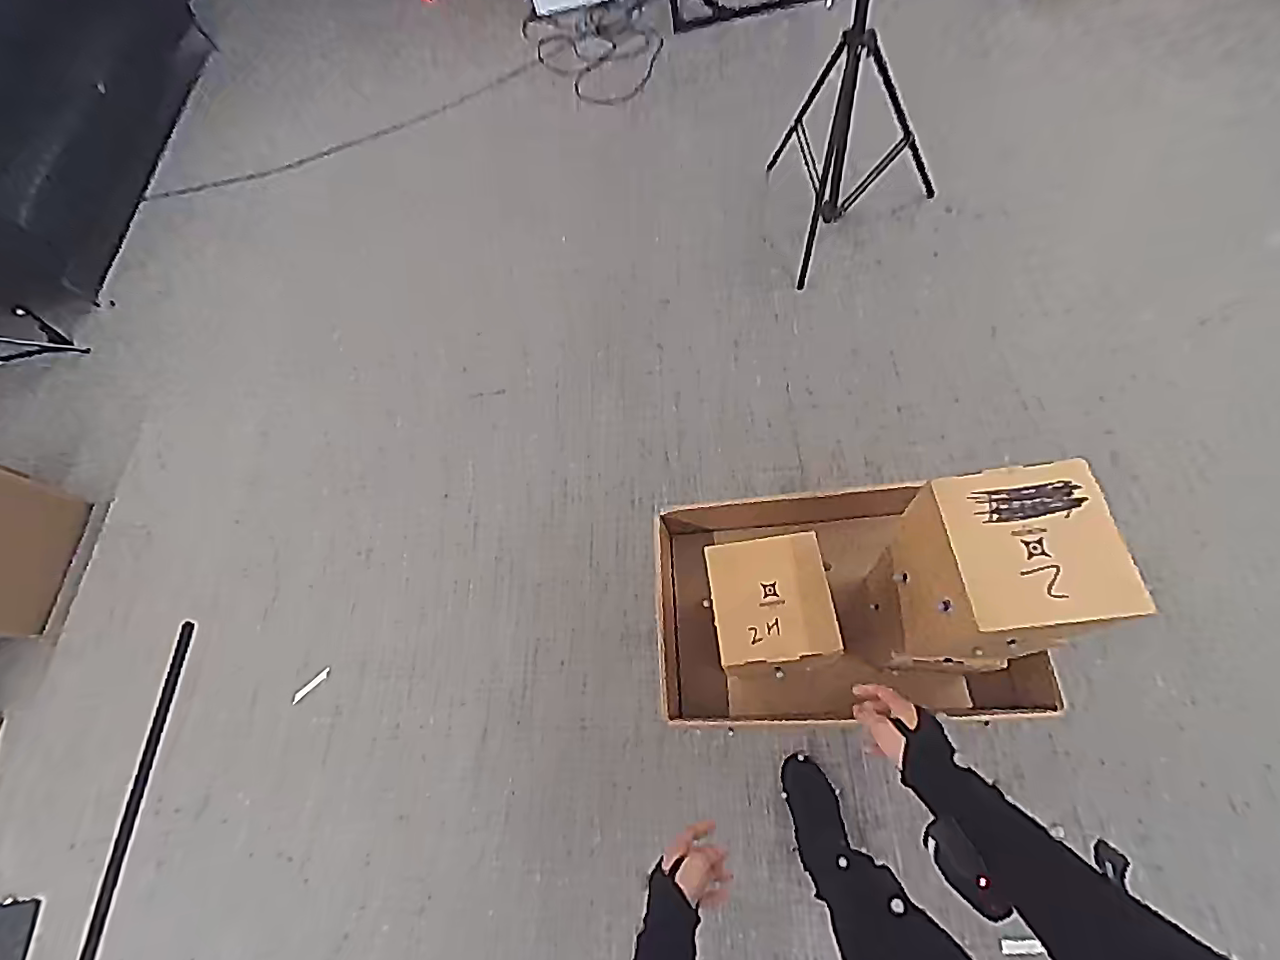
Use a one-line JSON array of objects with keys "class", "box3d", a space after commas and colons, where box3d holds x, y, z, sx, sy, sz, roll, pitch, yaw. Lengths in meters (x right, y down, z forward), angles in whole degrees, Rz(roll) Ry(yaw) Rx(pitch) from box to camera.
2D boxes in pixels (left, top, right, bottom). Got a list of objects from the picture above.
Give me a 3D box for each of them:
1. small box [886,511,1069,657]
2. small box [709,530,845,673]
[{"class": "small box", "box3d": [0.473, 0.157, 0.792, 0.168, 0.176, 0.179, -3, 66, 11]}, {"class": "small box", "box3d": [0.201, 0.195, 0.838, 0.168, 0.176, 0.179, -10, 66, 7]}]
